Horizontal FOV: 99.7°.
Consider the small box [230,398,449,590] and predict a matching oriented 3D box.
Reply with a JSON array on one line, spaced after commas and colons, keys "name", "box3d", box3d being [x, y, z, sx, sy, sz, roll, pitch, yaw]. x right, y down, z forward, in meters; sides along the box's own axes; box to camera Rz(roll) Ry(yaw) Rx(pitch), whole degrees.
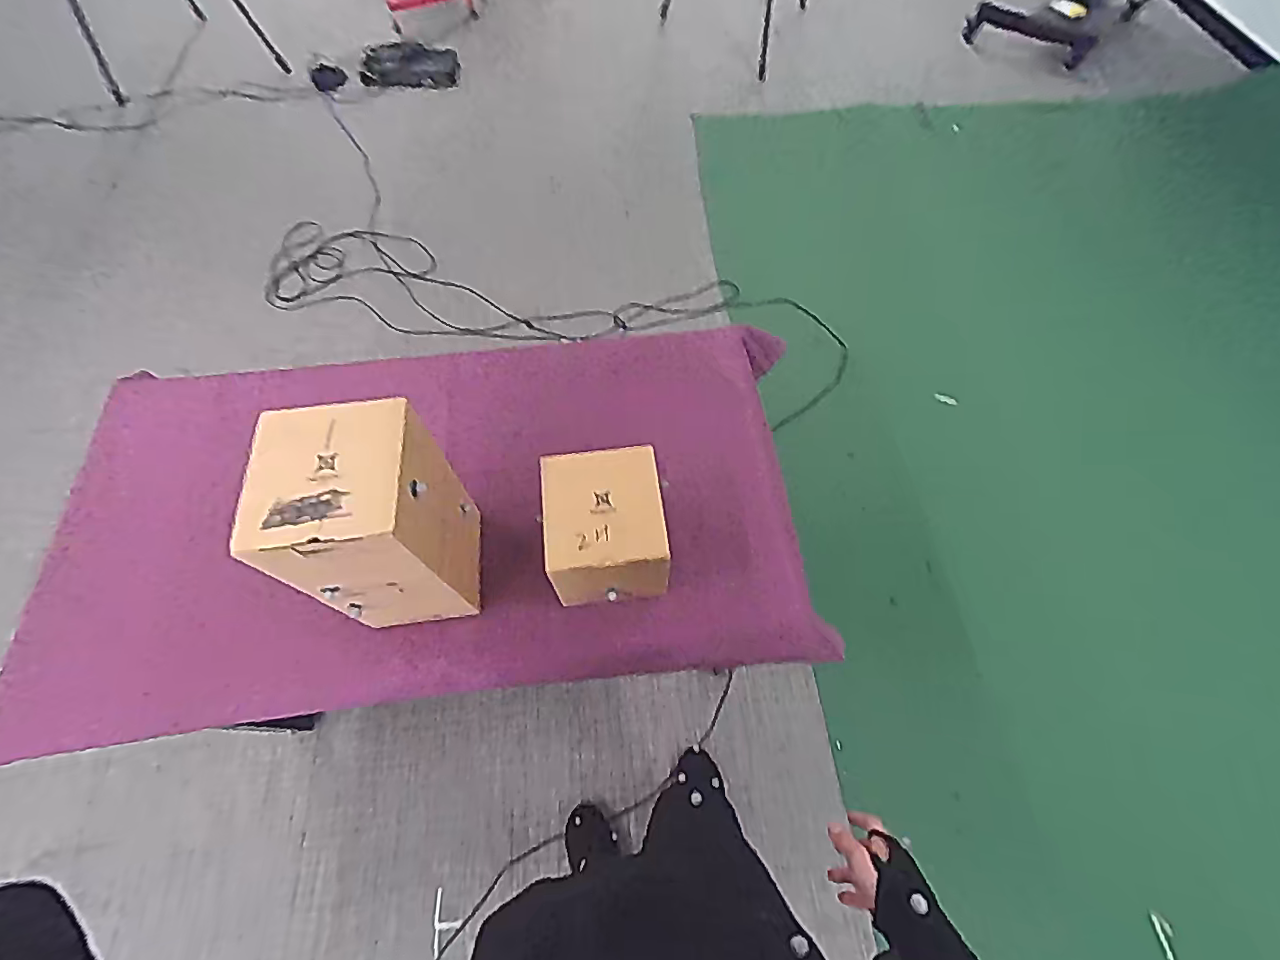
[{"name": "small box", "box3d": [-0.341, 0.027, 0.654, 0.168, 0.176, 0.179, -6, 62, -4]}]

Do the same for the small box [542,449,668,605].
[{"name": "small box", "box3d": [-0.054, 0.074, 0.815, 0.168, 0.176, 0.179, -6, 62, -3]}]
